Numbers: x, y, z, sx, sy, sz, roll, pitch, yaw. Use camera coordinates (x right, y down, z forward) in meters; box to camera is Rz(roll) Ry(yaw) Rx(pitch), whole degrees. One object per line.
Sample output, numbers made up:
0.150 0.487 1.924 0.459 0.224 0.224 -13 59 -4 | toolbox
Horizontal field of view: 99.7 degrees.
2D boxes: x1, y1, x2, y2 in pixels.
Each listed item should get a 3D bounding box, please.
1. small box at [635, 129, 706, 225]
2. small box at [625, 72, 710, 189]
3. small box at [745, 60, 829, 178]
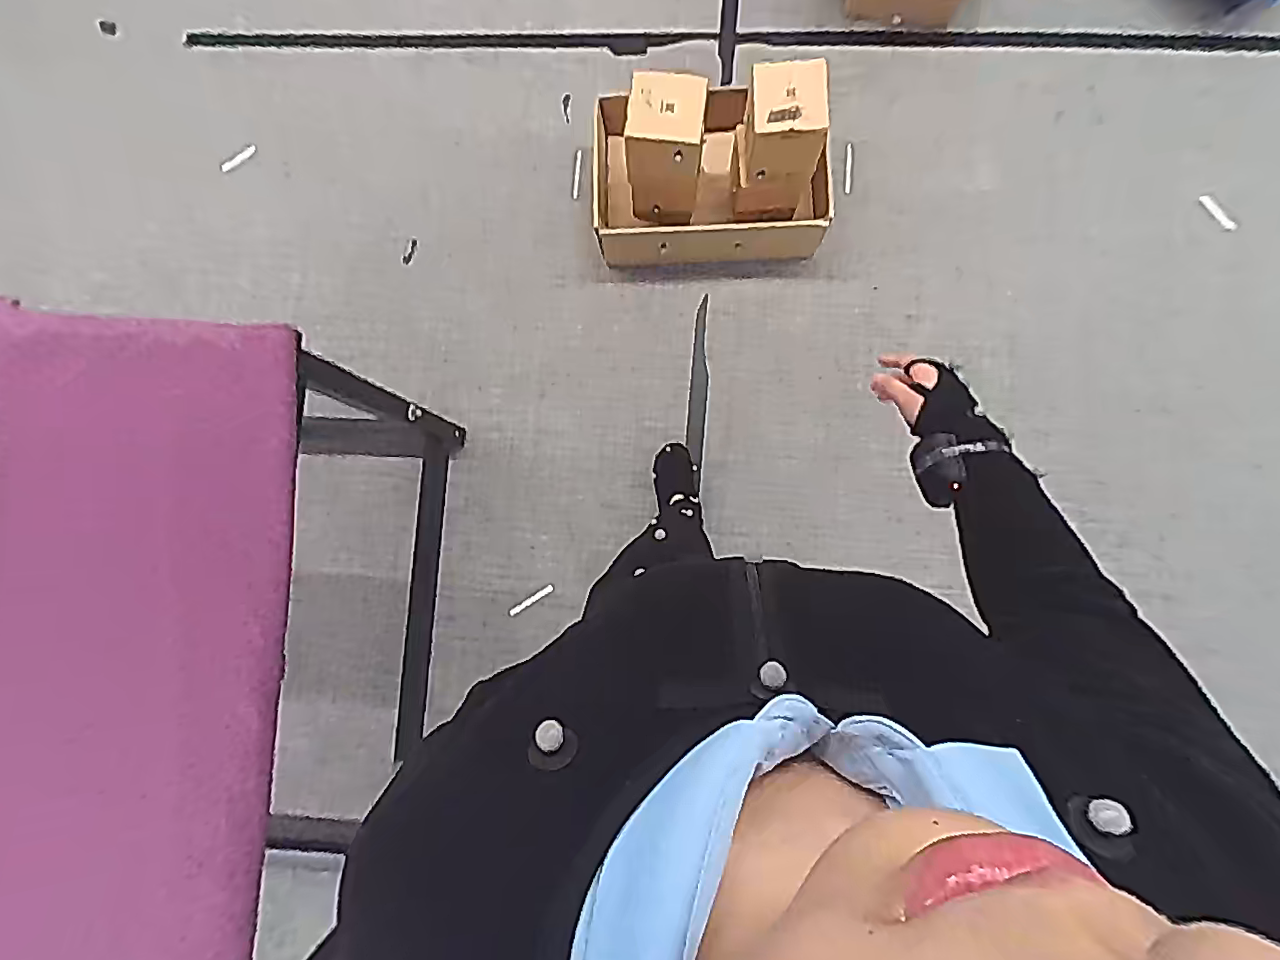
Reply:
0.078 -0.834 1.473 0.168 0.176 0.179 10 84 3 | small box
0.066 -0.835 1.307 0.179 0.176 0.168 8 84 3 | small box
0.345 -0.847 1.289 0.168 0.176 0.179 -1 83 4 | small box
